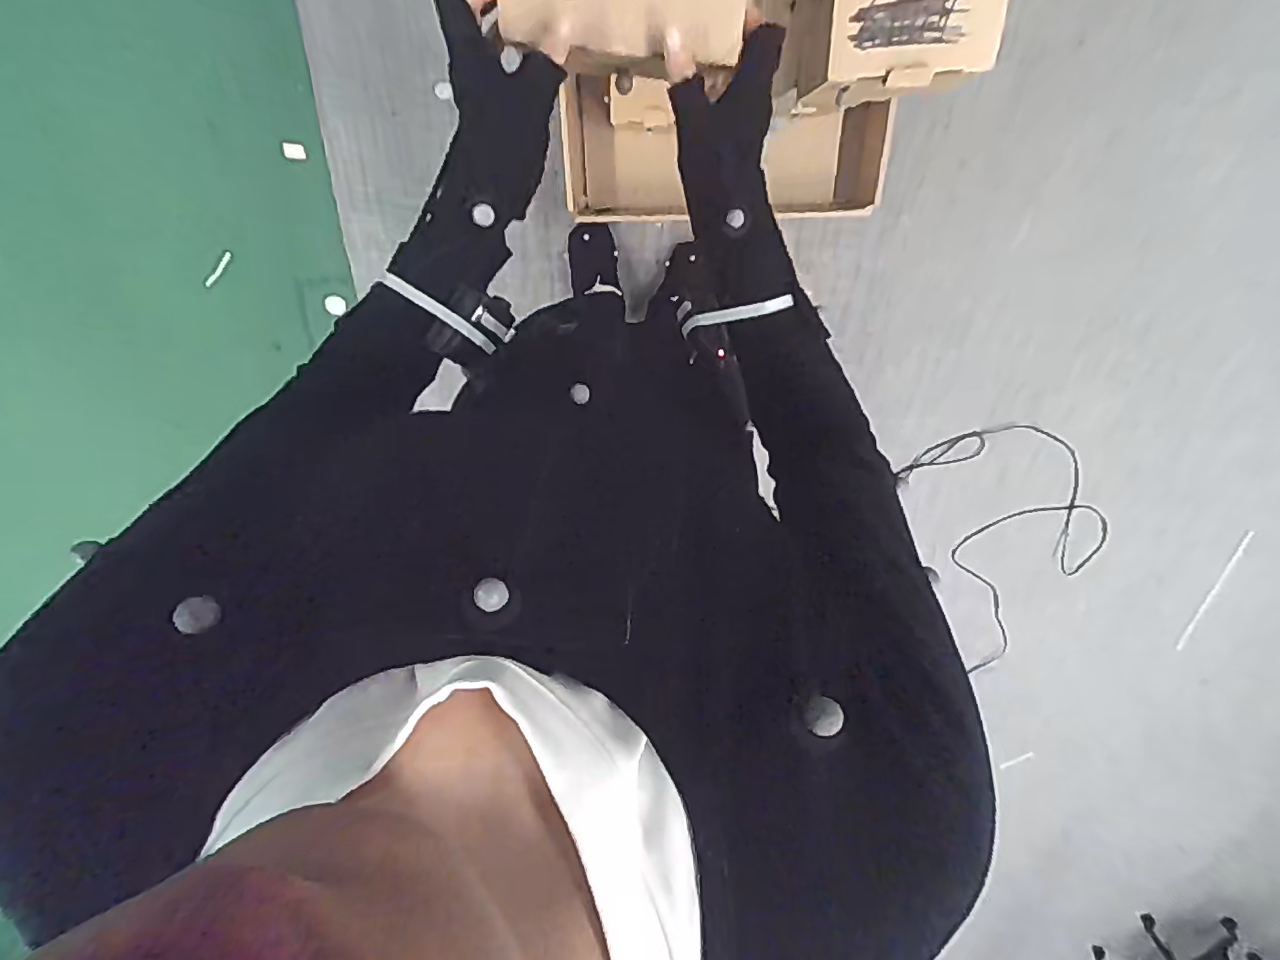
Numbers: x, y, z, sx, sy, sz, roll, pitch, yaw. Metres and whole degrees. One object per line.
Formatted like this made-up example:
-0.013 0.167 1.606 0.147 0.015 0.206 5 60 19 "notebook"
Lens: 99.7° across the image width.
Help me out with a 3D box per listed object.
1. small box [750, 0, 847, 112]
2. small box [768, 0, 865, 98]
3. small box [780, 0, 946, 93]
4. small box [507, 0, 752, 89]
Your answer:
0.293 -0.787 0.987 0.168 0.176 0.179 -2 119 6 "small box"
0.296 -0.697 0.829 0.168 0.176 0.179 1 120 4 "small box"
0.285 -0.618 0.705 0.168 0.176 0.179 1 120 2 "small box"
-0.002 -0.409 0.398 0.168 0.176 0.179 4 123 -2 "small box"
